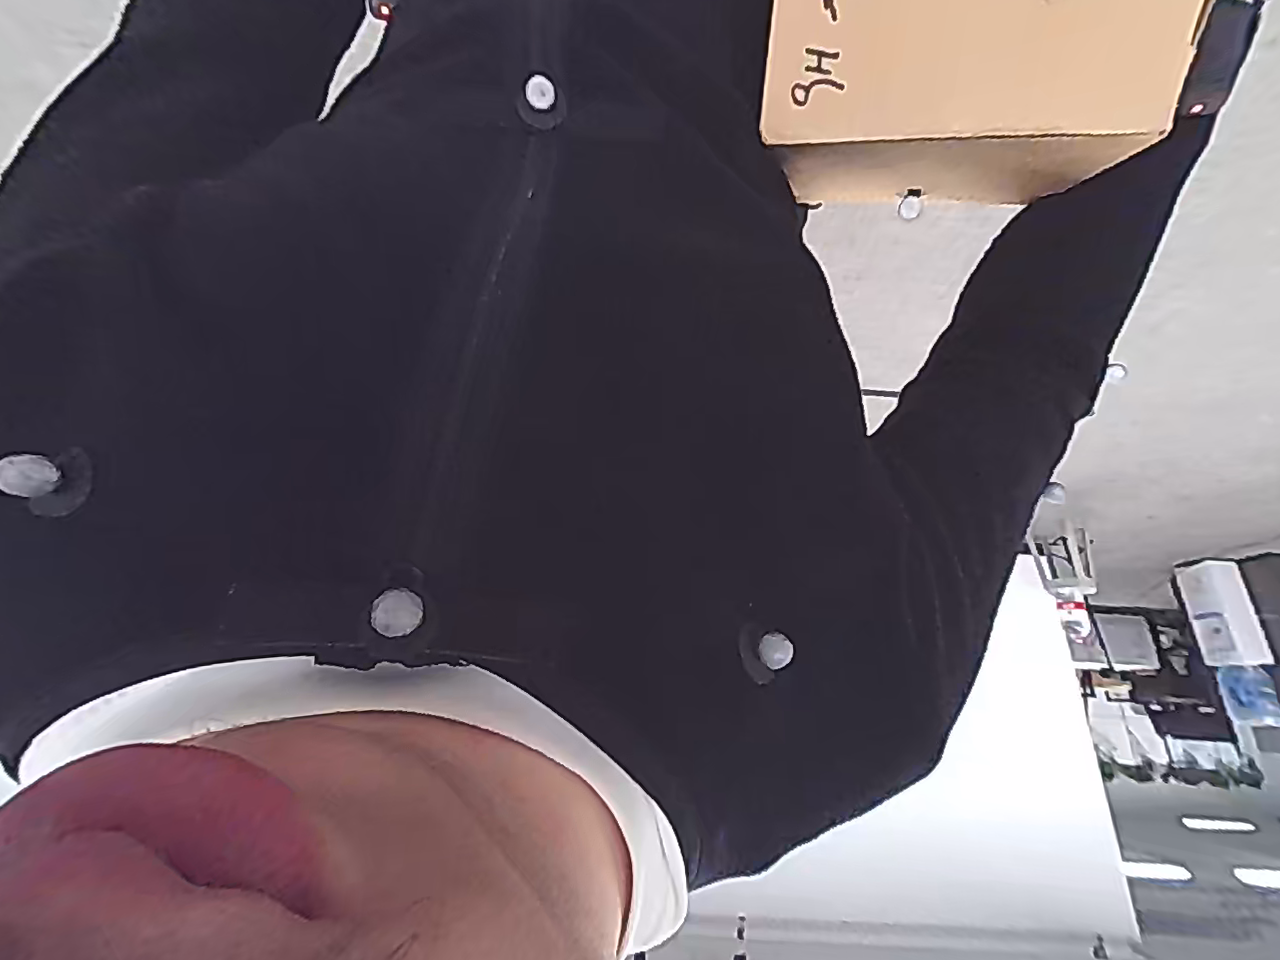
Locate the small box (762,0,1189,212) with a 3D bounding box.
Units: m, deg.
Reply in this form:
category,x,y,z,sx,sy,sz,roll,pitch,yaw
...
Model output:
category,x,y,z,sx,sy,sz,roll,pitch,yaw
small box,0.179,-0.263,0.319,0.179,0.168,0.176,10,-161,17
